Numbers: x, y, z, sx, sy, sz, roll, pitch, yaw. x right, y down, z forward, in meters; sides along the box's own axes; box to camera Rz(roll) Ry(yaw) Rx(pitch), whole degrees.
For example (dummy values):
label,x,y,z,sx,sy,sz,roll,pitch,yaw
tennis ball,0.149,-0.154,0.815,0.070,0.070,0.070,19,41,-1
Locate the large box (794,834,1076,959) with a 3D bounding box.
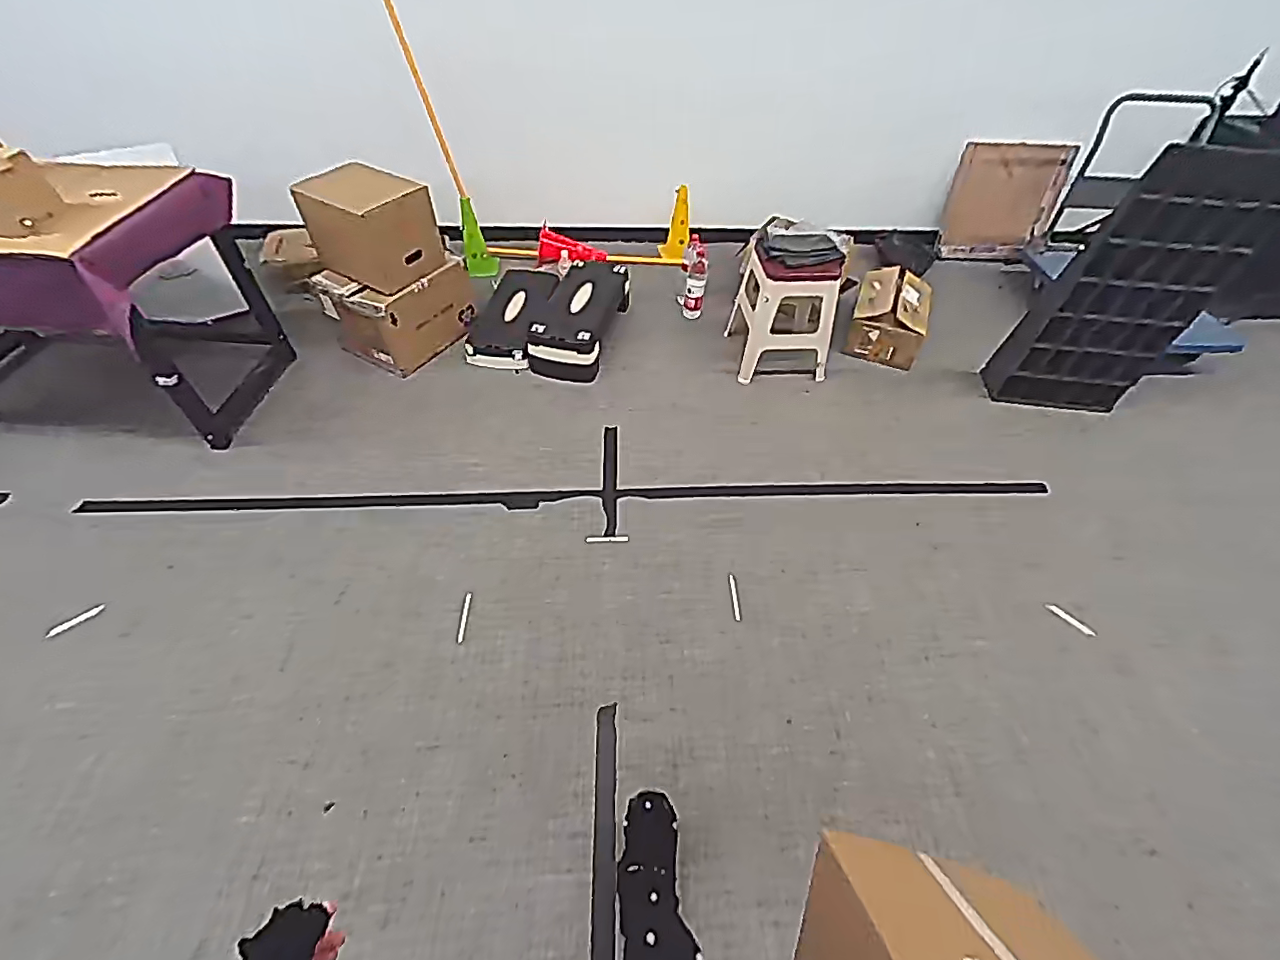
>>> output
label,x,y,z,sx,sy,sz,roll,pitch,yaw
large box,0.389,0.728,0.641,0.320,0.408,0.320,15,85,4
